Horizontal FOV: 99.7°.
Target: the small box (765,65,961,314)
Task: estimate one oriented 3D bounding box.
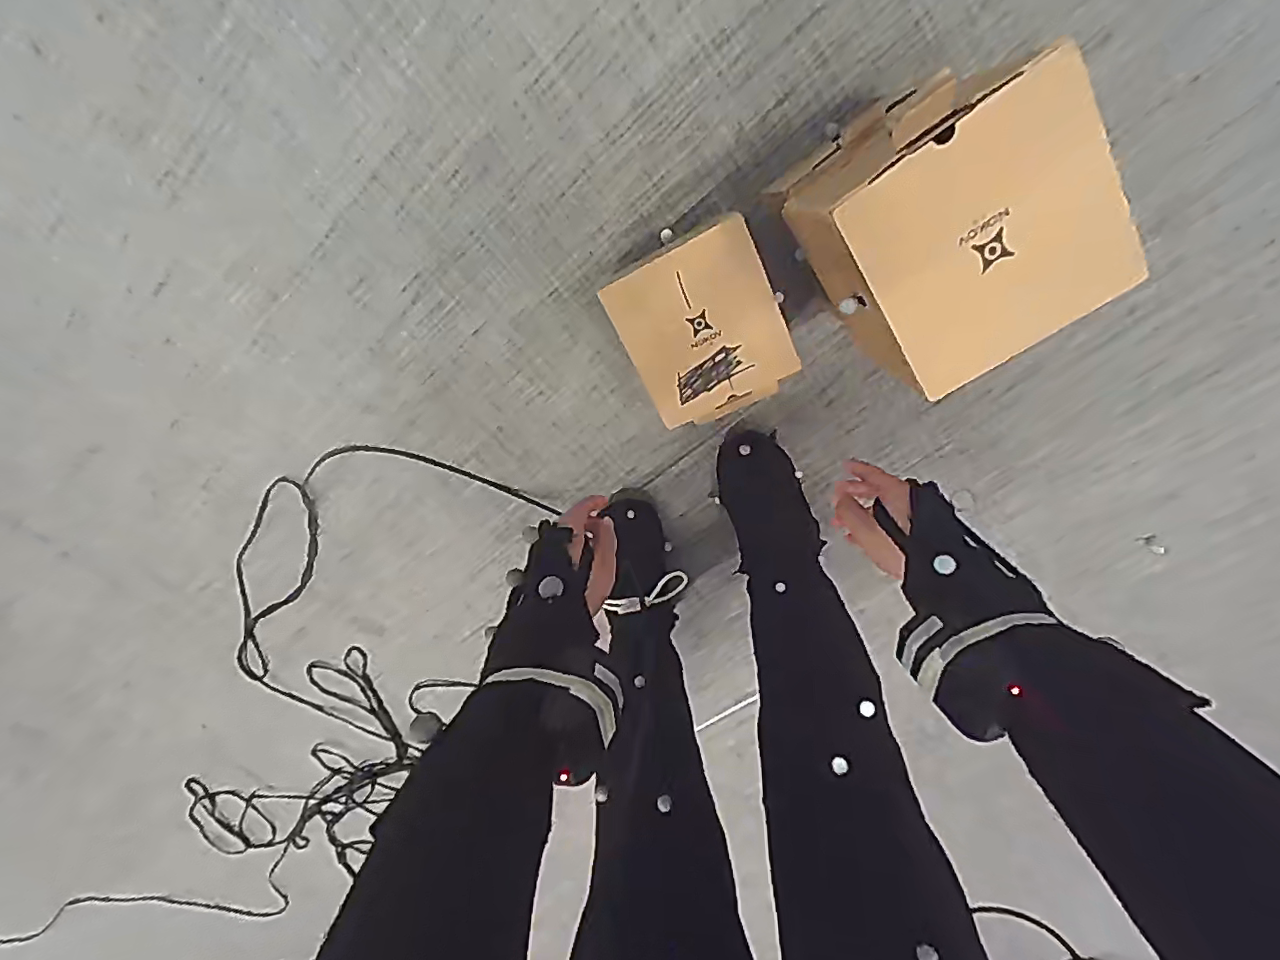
[{"bbox_3d":[0.257,-0.291,0.590,0.168,0.176,0.179,-33,110,17],"label":"small box"}]

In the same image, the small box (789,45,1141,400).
[{"bbox_3d":[0.249,-0.202,0.453,0.168,0.176,0.179,-32,111,17],"label":"small box"}]

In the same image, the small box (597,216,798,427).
[{"bbox_3d":[0.069,-0.195,0.647,0.168,0.176,0.179,-24,112,13],"label":"small box"}]
